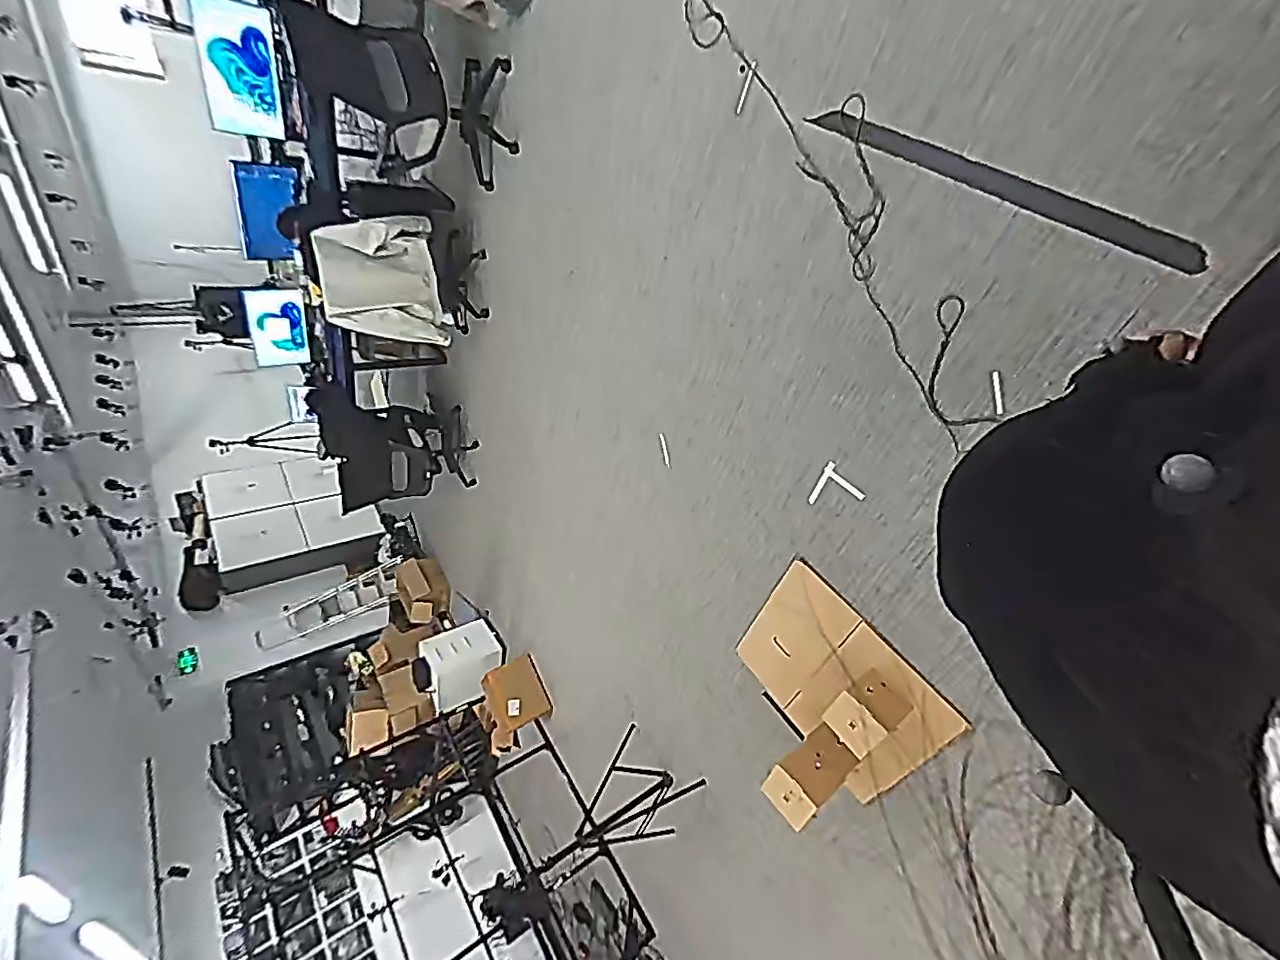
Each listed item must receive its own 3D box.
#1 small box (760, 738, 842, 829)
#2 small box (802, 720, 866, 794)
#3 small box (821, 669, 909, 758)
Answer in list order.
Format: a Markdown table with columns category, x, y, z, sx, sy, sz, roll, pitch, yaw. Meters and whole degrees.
| category | x | y | z | sx | sy | sz | roll | pitch | yaw |
| --- | --- | --- | --- | --- | --- | --- | --- | --- | --- |
| small box | 0.534 | 0.999 | 1.789 | 0.168 | 0.176 | 0.179 | 43 | 133 | 35 |
| small box | 0.660 | 0.960 | 1.888 | 0.168 | 0.176 | 0.179 | 42 | 132 | 37 |
| small box | 0.723 | 0.738 | 1.726 | 0.168 | 0.176 | 0.179 | 46 | 136 | 34 |
